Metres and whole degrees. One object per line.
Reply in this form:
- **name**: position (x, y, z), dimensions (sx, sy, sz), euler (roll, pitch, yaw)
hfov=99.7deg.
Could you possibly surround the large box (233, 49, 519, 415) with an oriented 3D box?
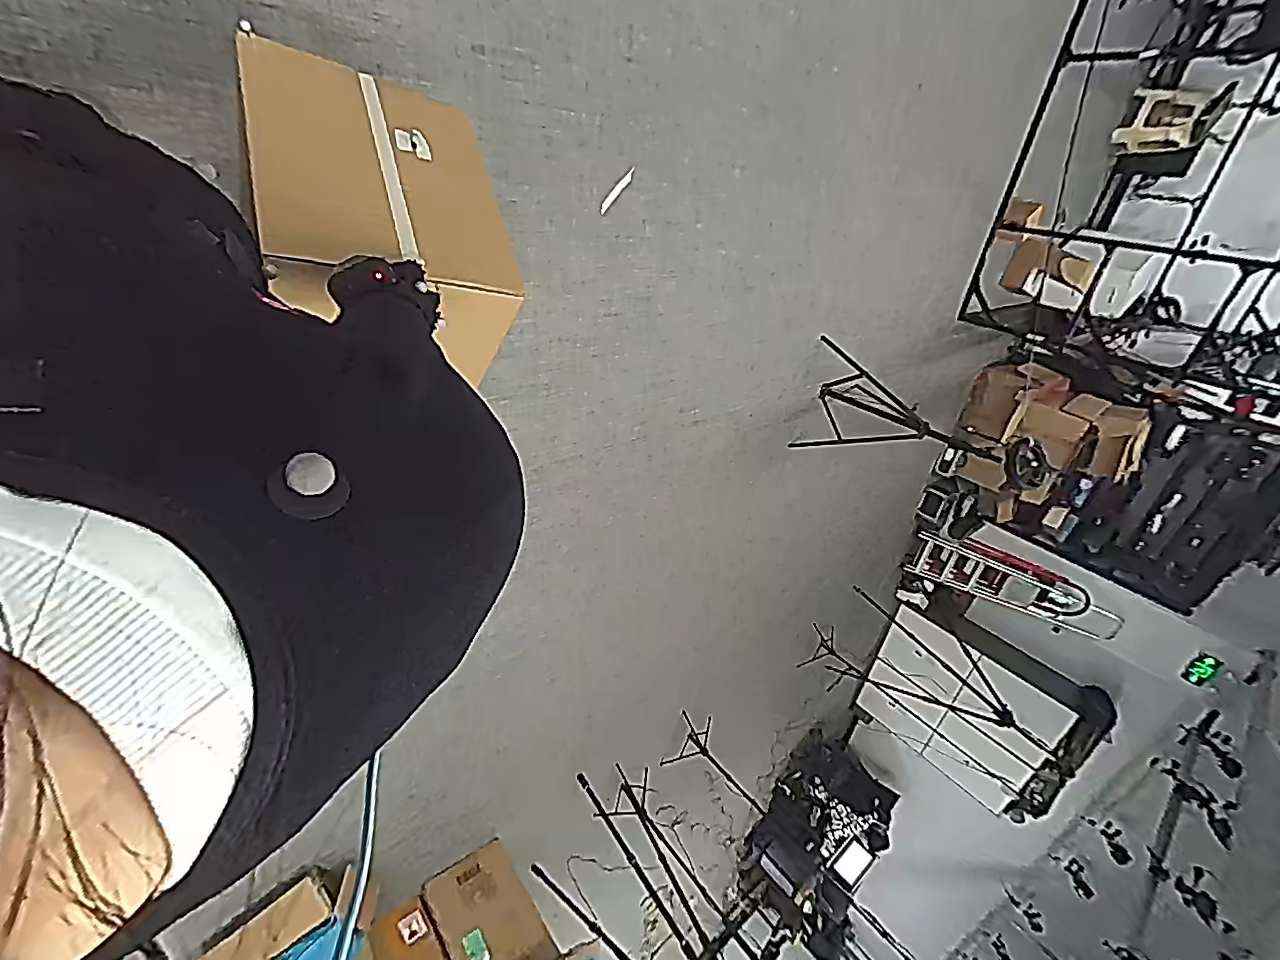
- **large box**: position (-0.439, -0.353, 0.866), dimensions (0.320, 0.408, 0.320), euler (-4, 154, -39)
